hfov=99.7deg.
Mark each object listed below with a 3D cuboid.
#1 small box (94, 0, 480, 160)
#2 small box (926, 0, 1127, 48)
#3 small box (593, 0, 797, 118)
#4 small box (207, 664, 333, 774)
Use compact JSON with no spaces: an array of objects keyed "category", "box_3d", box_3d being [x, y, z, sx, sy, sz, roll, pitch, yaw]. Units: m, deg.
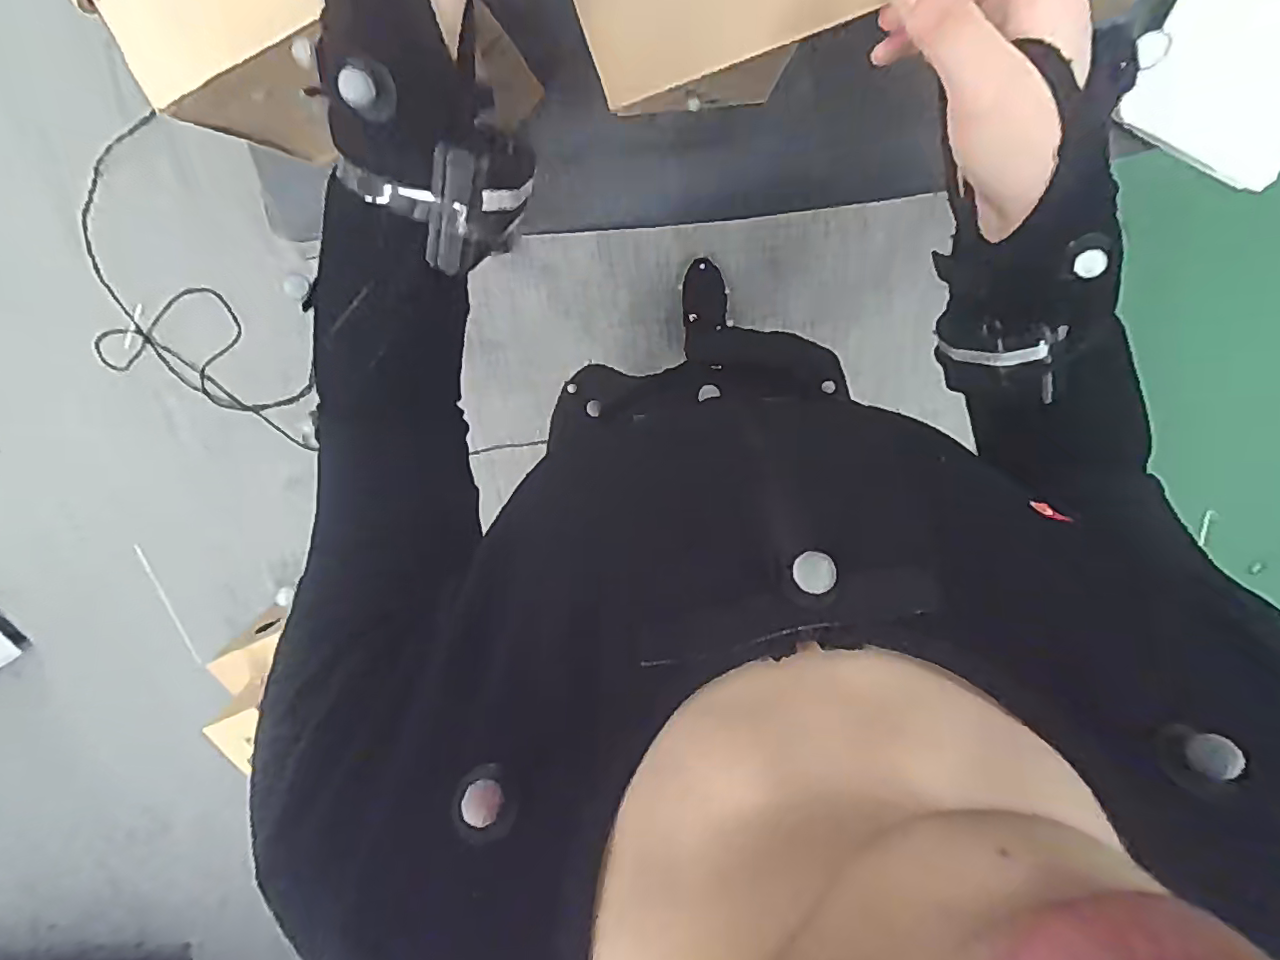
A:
[{"category":"small box","box_3d":[-0.243,-0.352,0.373,0.179,0.176,0.168,-19,108,10]},{"category":"small box","box_3d":[0.371,-0.505,0.455,0.179,0.176,0.168,-6,109,6]},{"category":"small box","box_3d":[0.045,-0.460,0.490,0.168,0.176,0.179,-2,110,5]},{"category":"small box","box_3d":[-0.951,0.618,1.411,0.168,0.176,0.179,-24,108,10]}]
